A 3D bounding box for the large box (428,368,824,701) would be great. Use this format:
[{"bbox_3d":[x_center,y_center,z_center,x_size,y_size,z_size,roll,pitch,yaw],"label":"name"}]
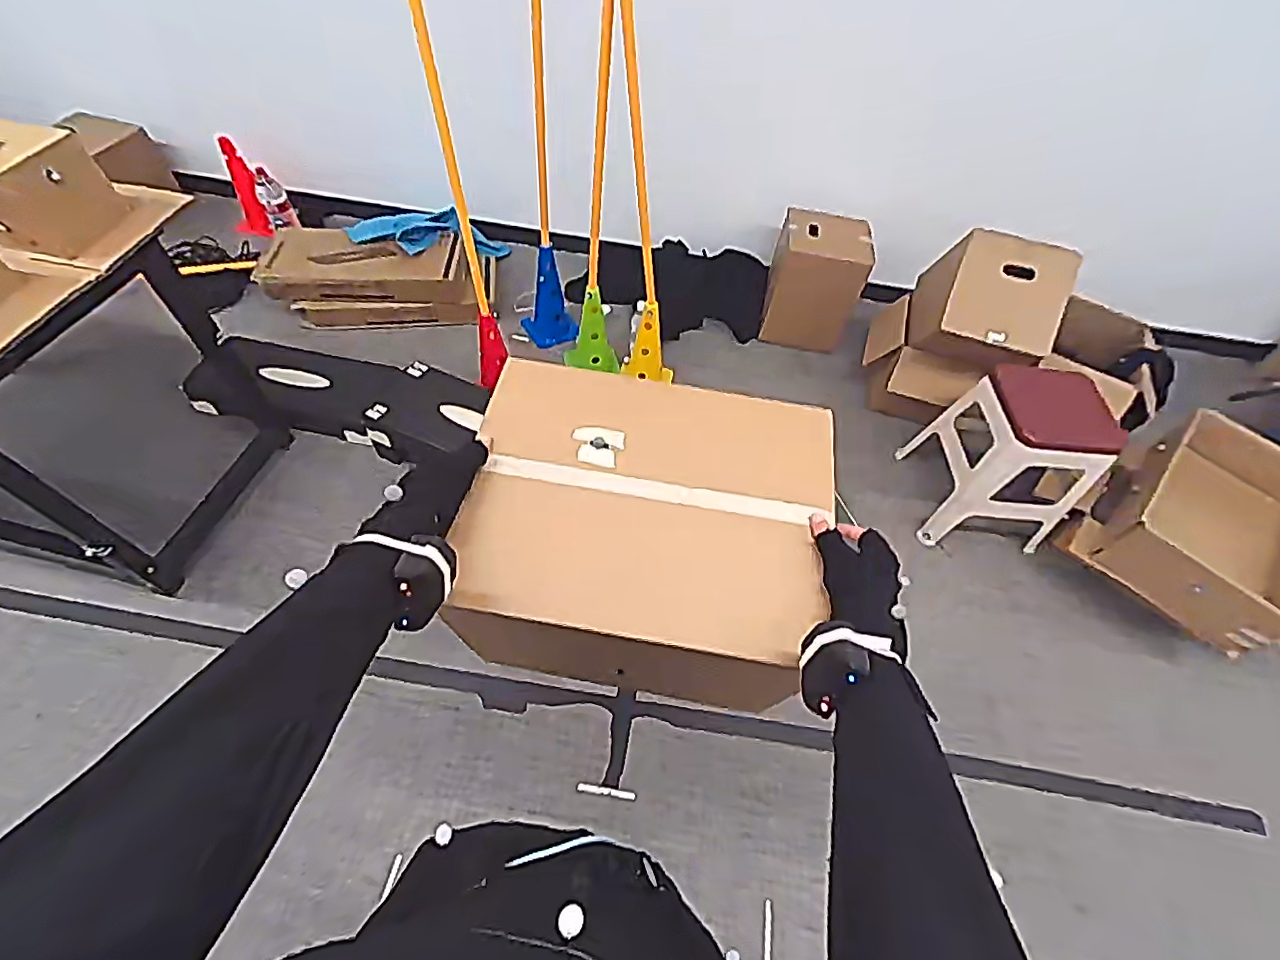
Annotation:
[{"bbox_3d":[0.003,0.091,0.731,0.408,0.320,0.320,10,60,3],"label":"large box"}]
